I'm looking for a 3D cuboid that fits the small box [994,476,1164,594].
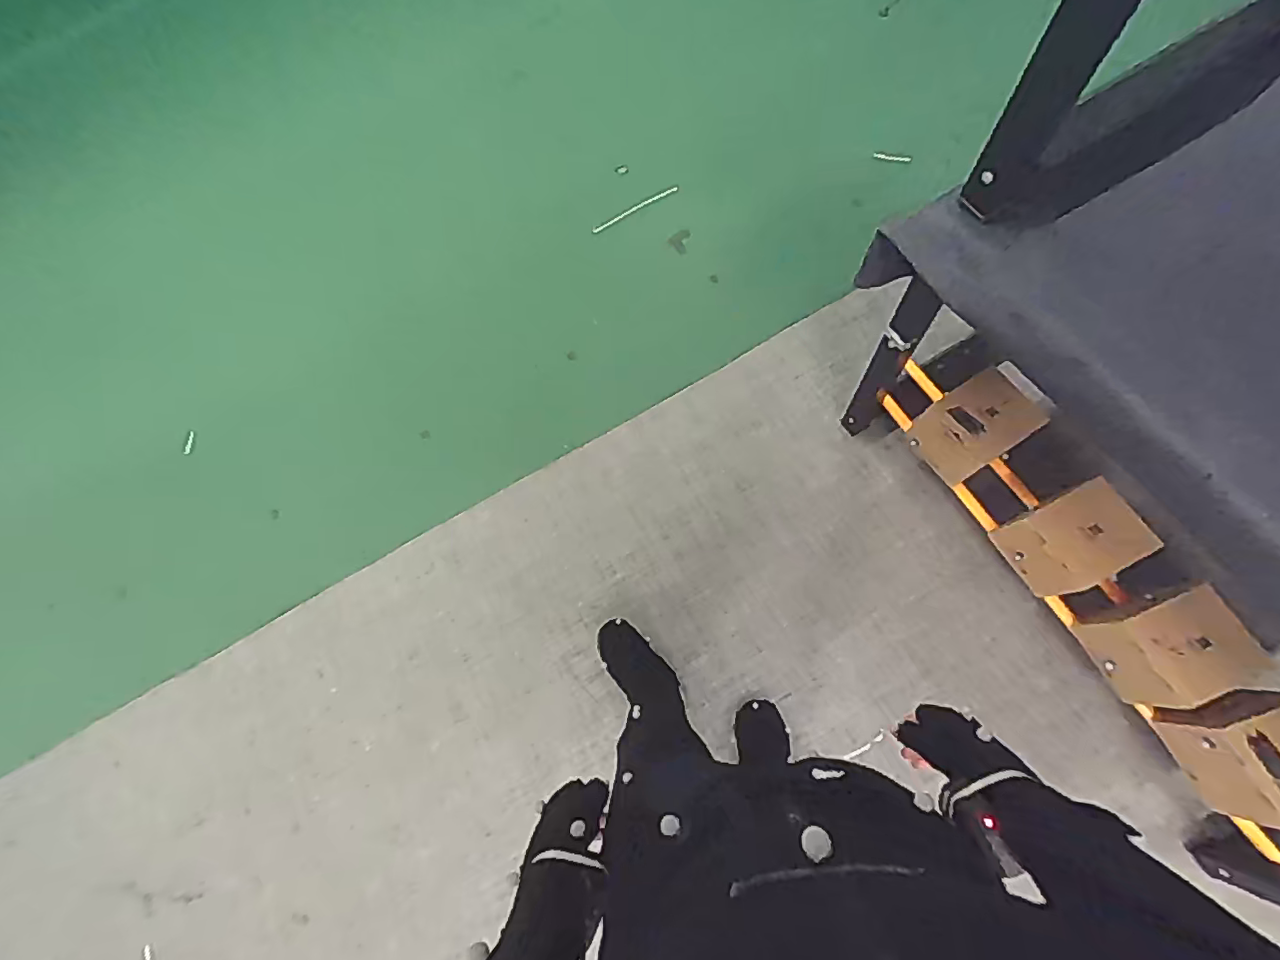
[{"bbox_3d":[0.885,0.119,1.113,0.179,0.176,0.168,-30,71,0],"label":"small box"}]
